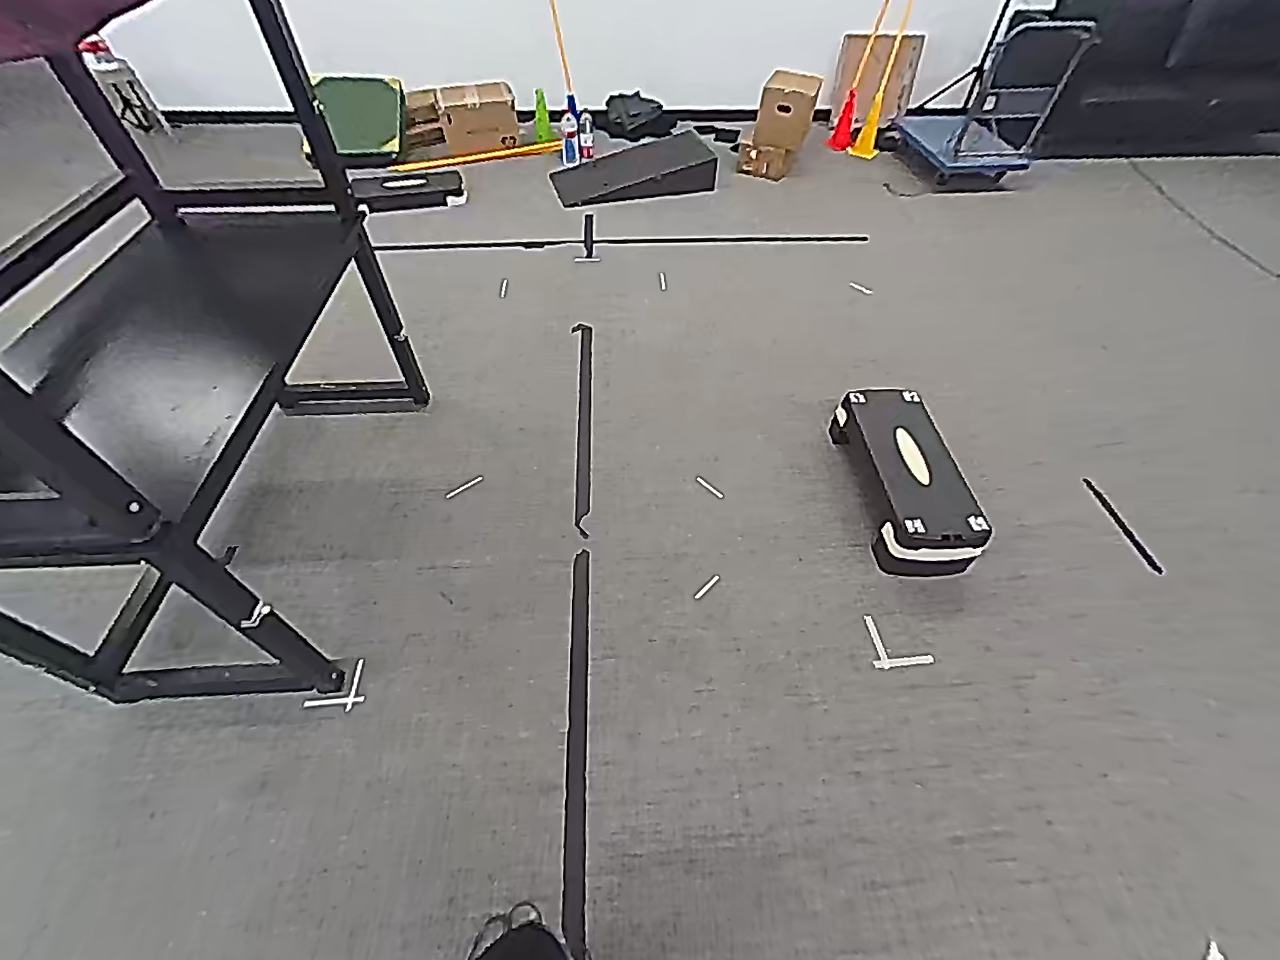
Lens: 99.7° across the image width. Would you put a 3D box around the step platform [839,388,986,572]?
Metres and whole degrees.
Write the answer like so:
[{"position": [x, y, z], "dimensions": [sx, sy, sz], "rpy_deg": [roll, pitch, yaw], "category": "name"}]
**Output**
[{"position": [0.899, -0.033, 1.845], "dimensions": [0.286, 0.204, 0.684], "rpy_deg": [2, 49, 2], "category": "step platform"}]
